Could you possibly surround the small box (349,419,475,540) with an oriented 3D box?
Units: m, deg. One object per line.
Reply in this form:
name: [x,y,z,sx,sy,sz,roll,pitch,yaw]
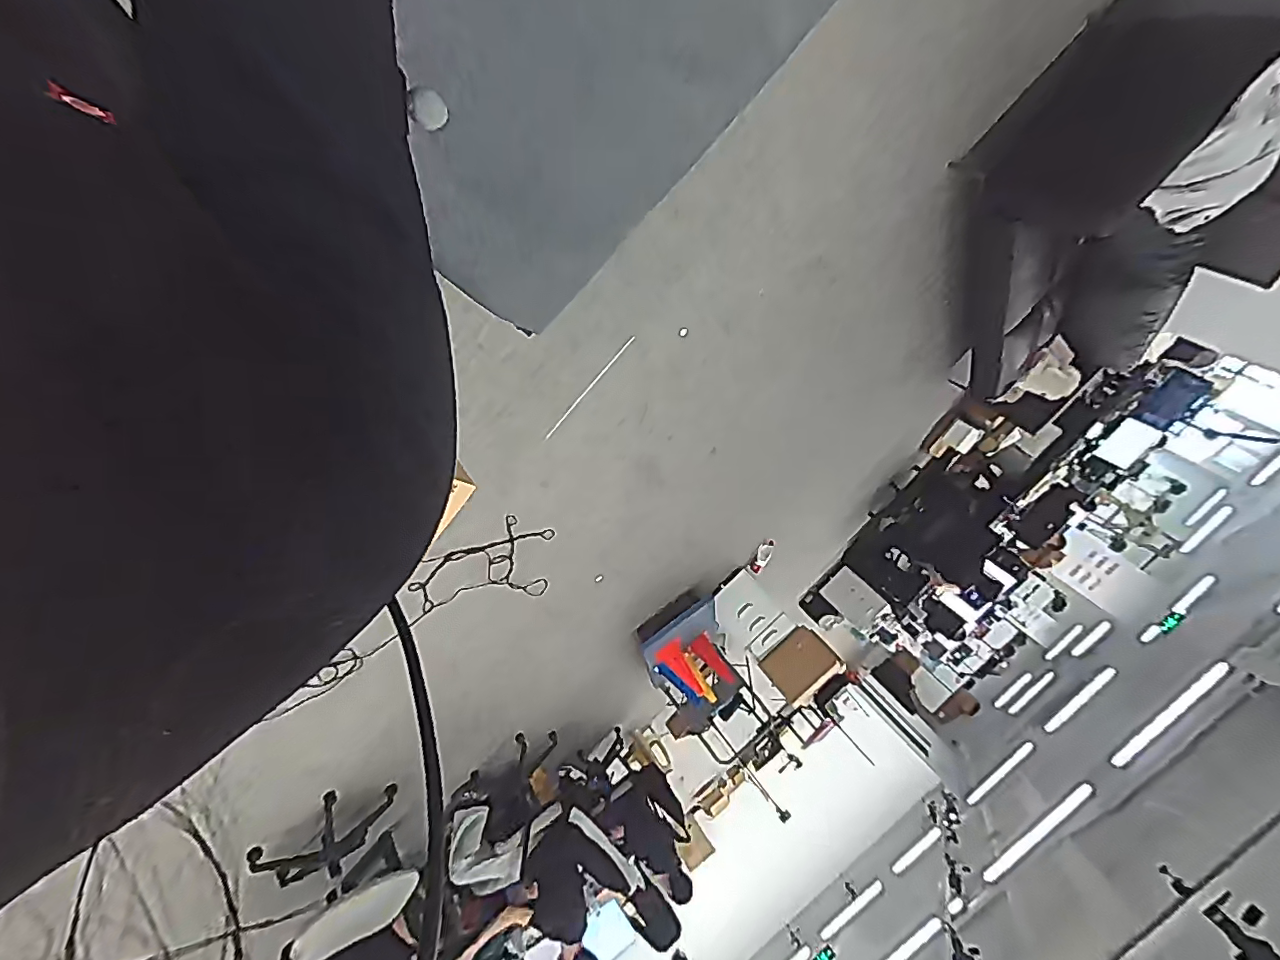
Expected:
small box: [-0.500,0.001,1.173,0.179,0.176,0.168,-49,148,9]
